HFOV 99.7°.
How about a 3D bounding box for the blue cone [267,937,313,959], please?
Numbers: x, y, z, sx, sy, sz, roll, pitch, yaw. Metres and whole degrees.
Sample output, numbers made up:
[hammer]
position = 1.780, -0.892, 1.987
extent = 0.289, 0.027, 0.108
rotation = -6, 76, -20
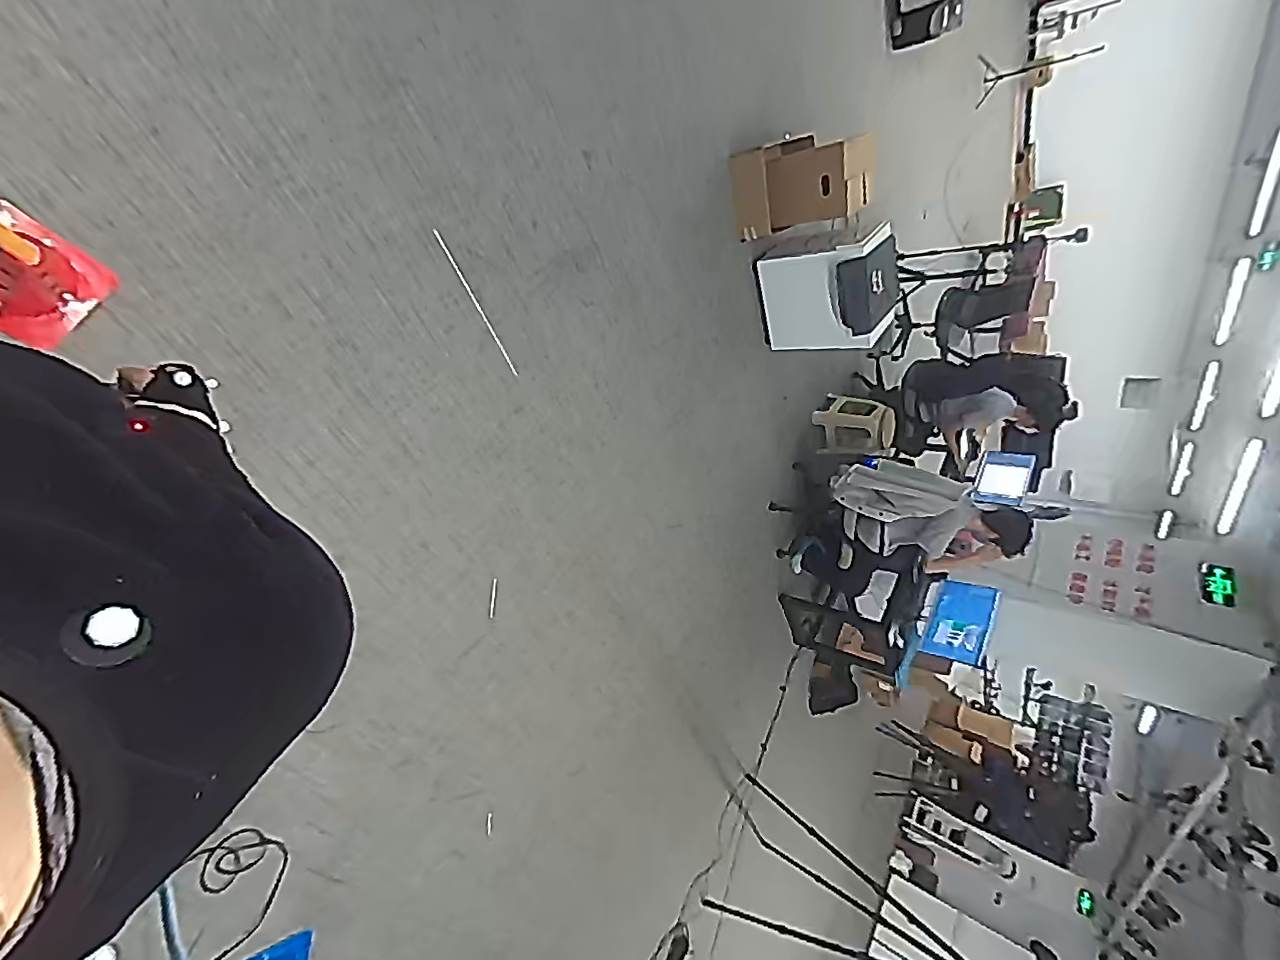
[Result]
[blue cone]
position = -0.871, 1.400, 1.380
extent = 0.193, 0.380, 0.192
rotation = 3, 94, -53
